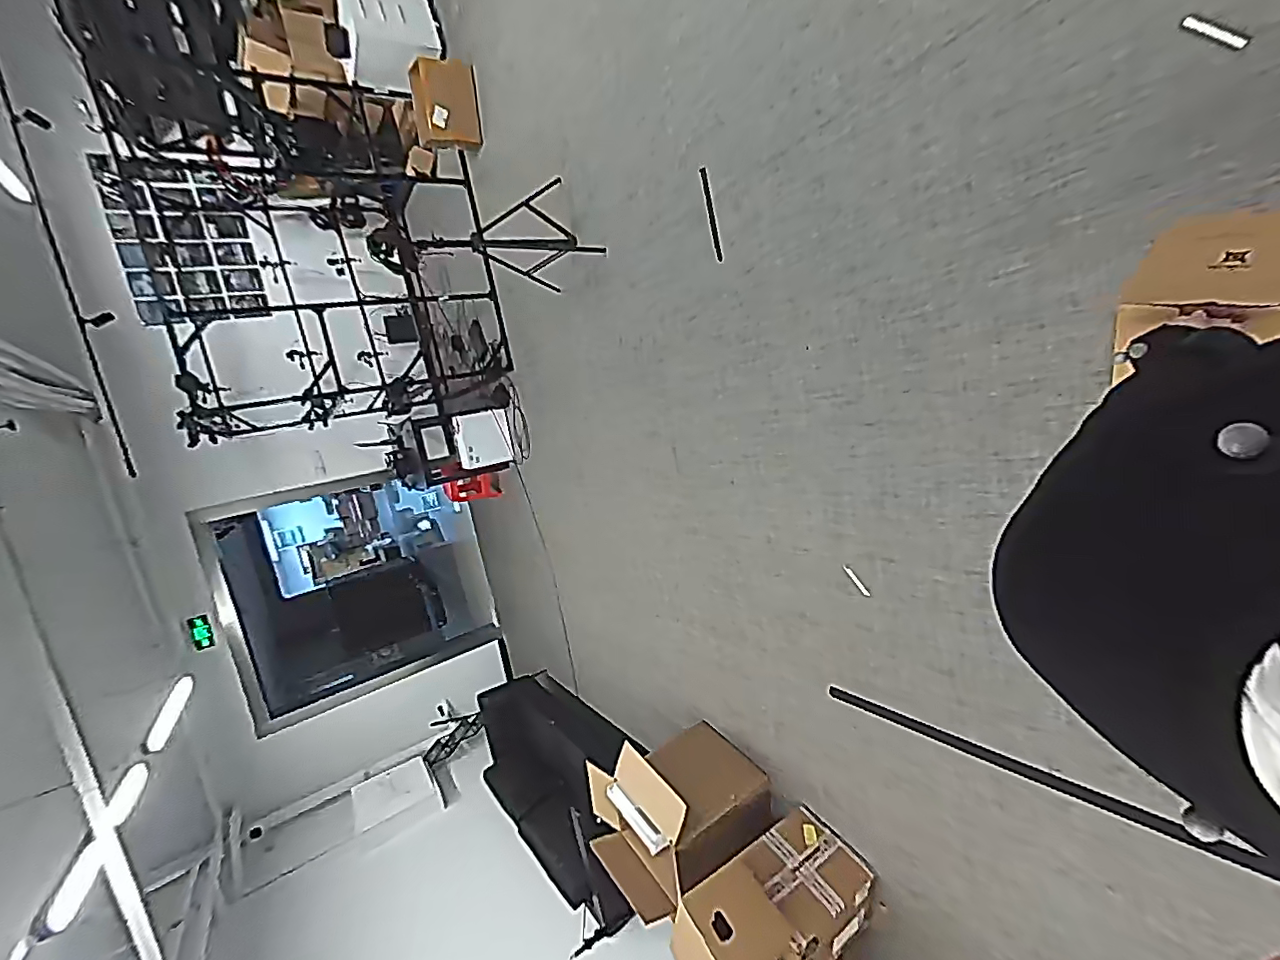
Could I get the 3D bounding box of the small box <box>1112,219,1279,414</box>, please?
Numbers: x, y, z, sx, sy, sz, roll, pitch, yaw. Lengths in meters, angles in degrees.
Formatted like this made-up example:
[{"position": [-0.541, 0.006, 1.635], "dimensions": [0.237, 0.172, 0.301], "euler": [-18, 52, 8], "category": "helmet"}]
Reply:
[{"position": [0.744, -0.209, 0.698], "dimensions": [0.168, 0.179, 0.176], "euler": [23, 155, 47], "category": "small box"}]
